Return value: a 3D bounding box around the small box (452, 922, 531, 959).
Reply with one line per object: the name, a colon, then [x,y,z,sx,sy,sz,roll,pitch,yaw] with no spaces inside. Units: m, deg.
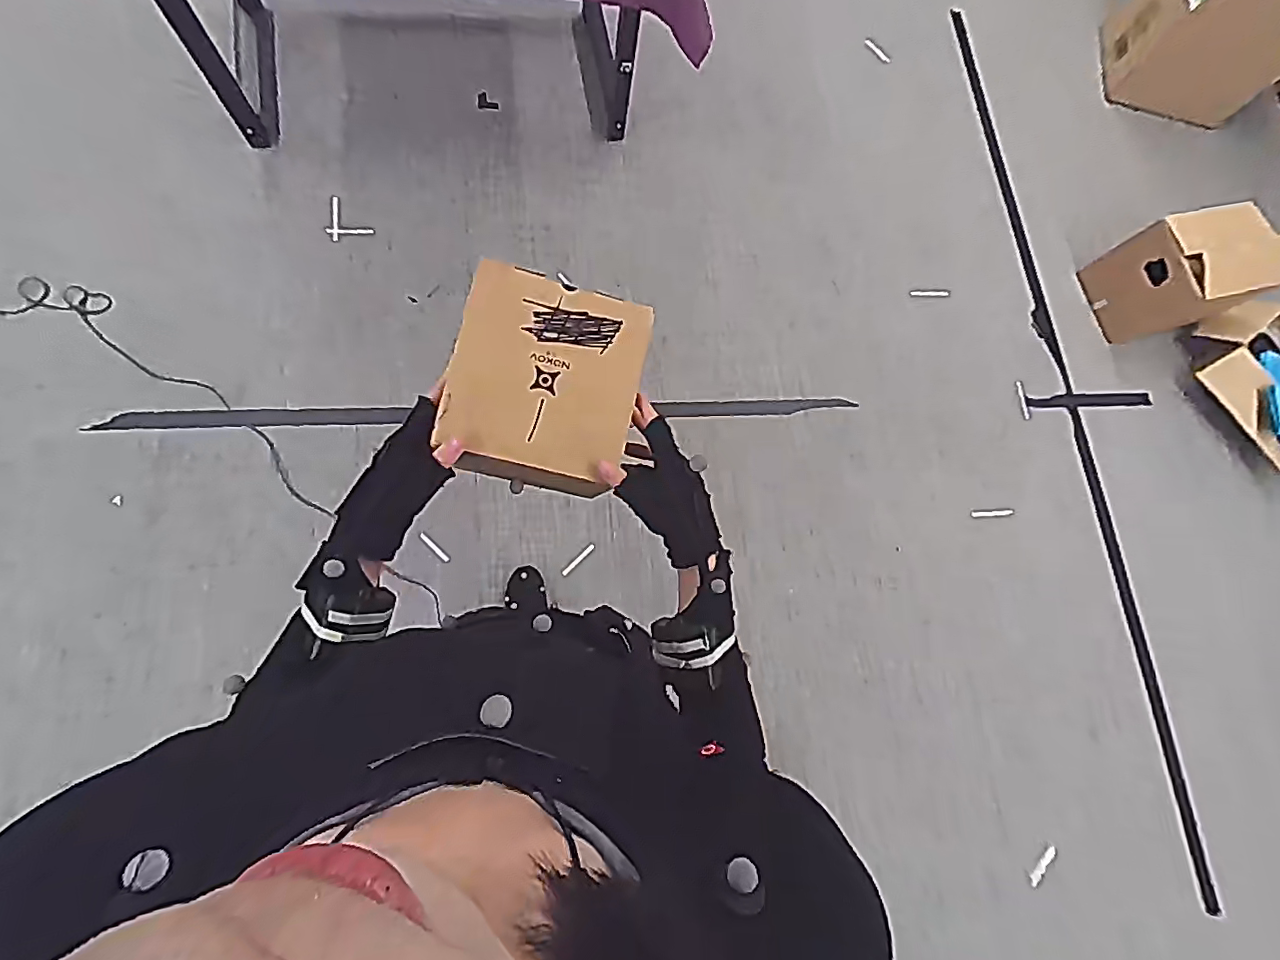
small box: [-0.331,1.137,1.208,0.168,0.176,0.179,-10,77,-11]
